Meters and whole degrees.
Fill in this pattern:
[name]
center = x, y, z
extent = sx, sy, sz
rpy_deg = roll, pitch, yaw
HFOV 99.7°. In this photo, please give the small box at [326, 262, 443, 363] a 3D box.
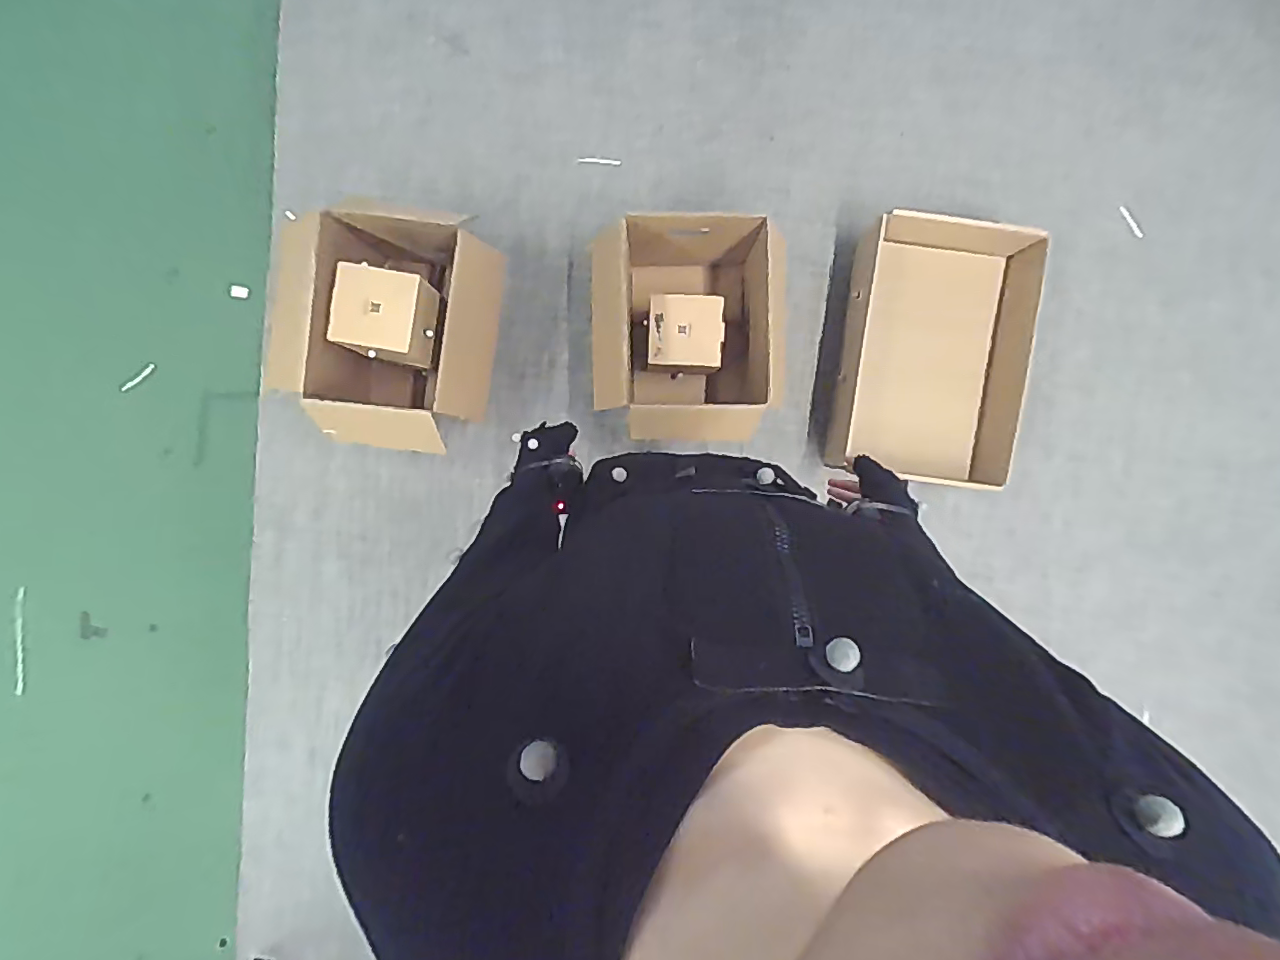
[small box]
center = -0.556, -0.362, 1.202
extent = 0.179, 0.176, 0.168
rpy_deg = 9, 92, -1
